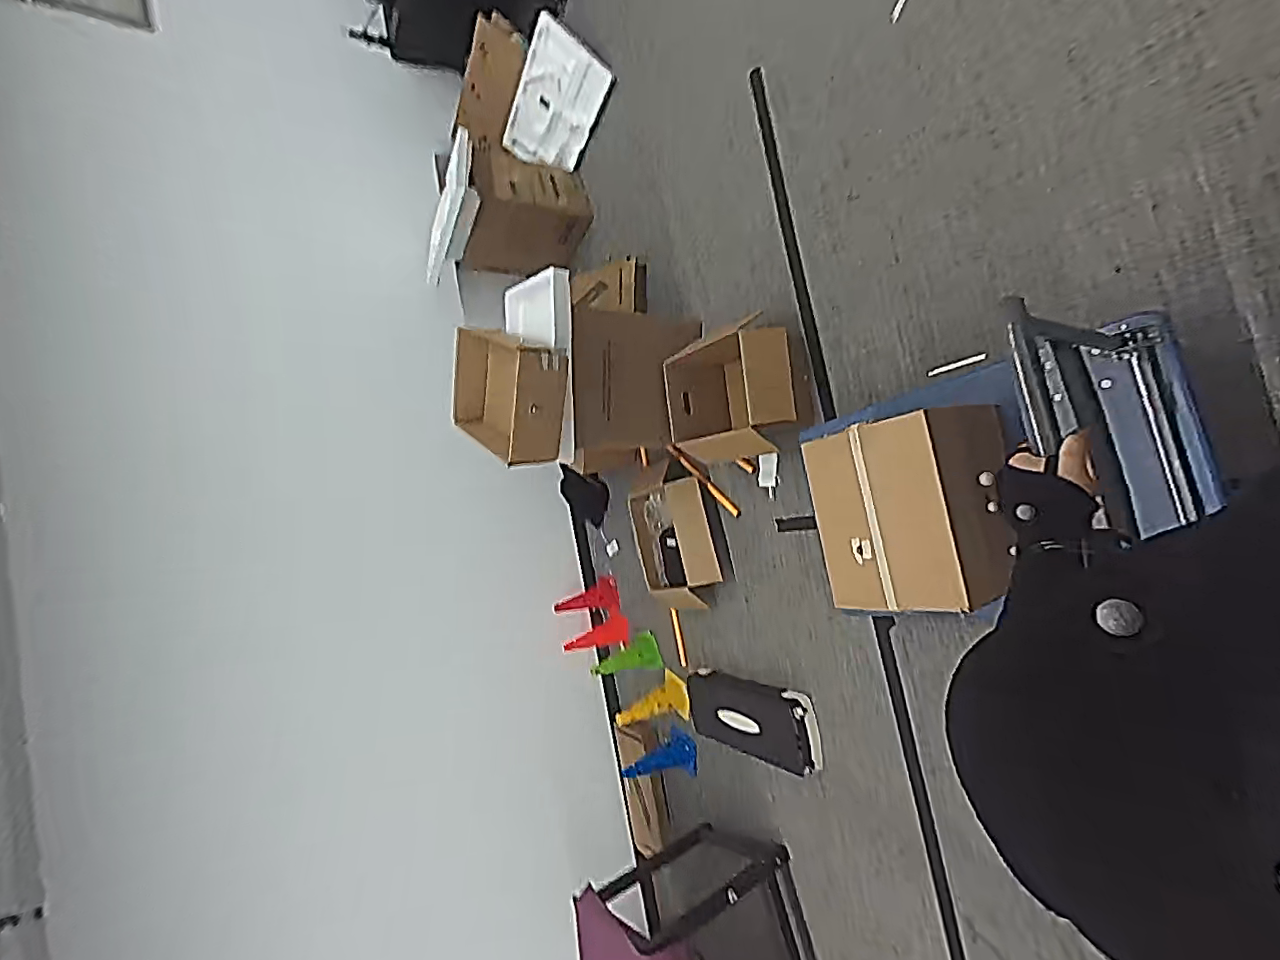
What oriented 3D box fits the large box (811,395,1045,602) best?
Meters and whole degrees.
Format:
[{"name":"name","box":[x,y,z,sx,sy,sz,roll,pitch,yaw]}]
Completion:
[{"name":"large box","box":[0.654,0.045,1.247,0.320,0.320,0.408,-18,82,57]}]
